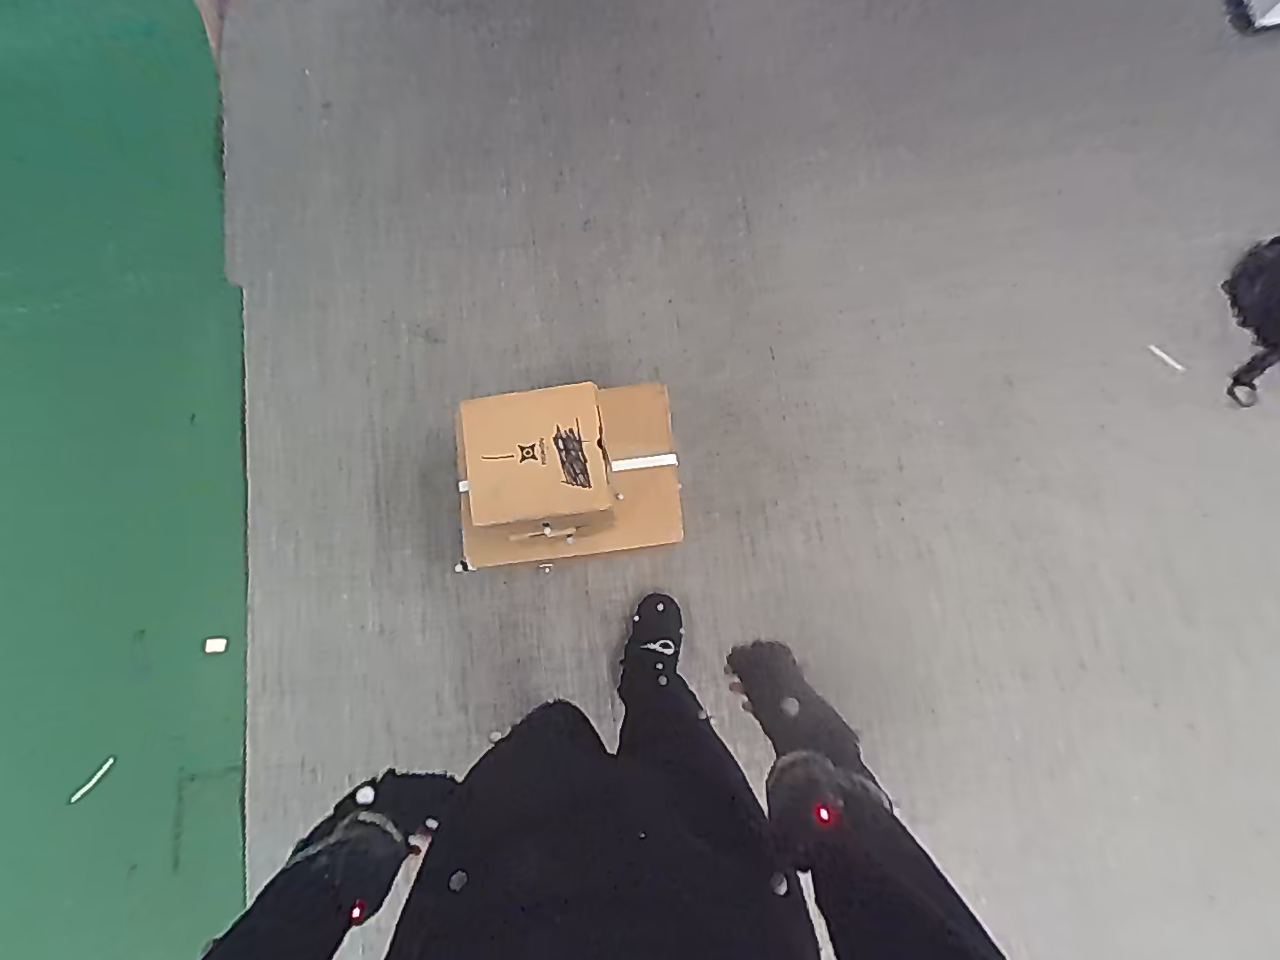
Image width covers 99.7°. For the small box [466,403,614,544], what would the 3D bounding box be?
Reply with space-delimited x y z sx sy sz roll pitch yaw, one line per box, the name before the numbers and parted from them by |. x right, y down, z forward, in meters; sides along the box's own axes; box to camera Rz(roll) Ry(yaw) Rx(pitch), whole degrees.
small box | -0.128 0.000 0.754 0.179 0.176 0.168 -6 81 -1

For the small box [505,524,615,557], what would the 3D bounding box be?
small box | -0.139 0.030 0.919 0.168 0.176 0.179 -11 81 -2
